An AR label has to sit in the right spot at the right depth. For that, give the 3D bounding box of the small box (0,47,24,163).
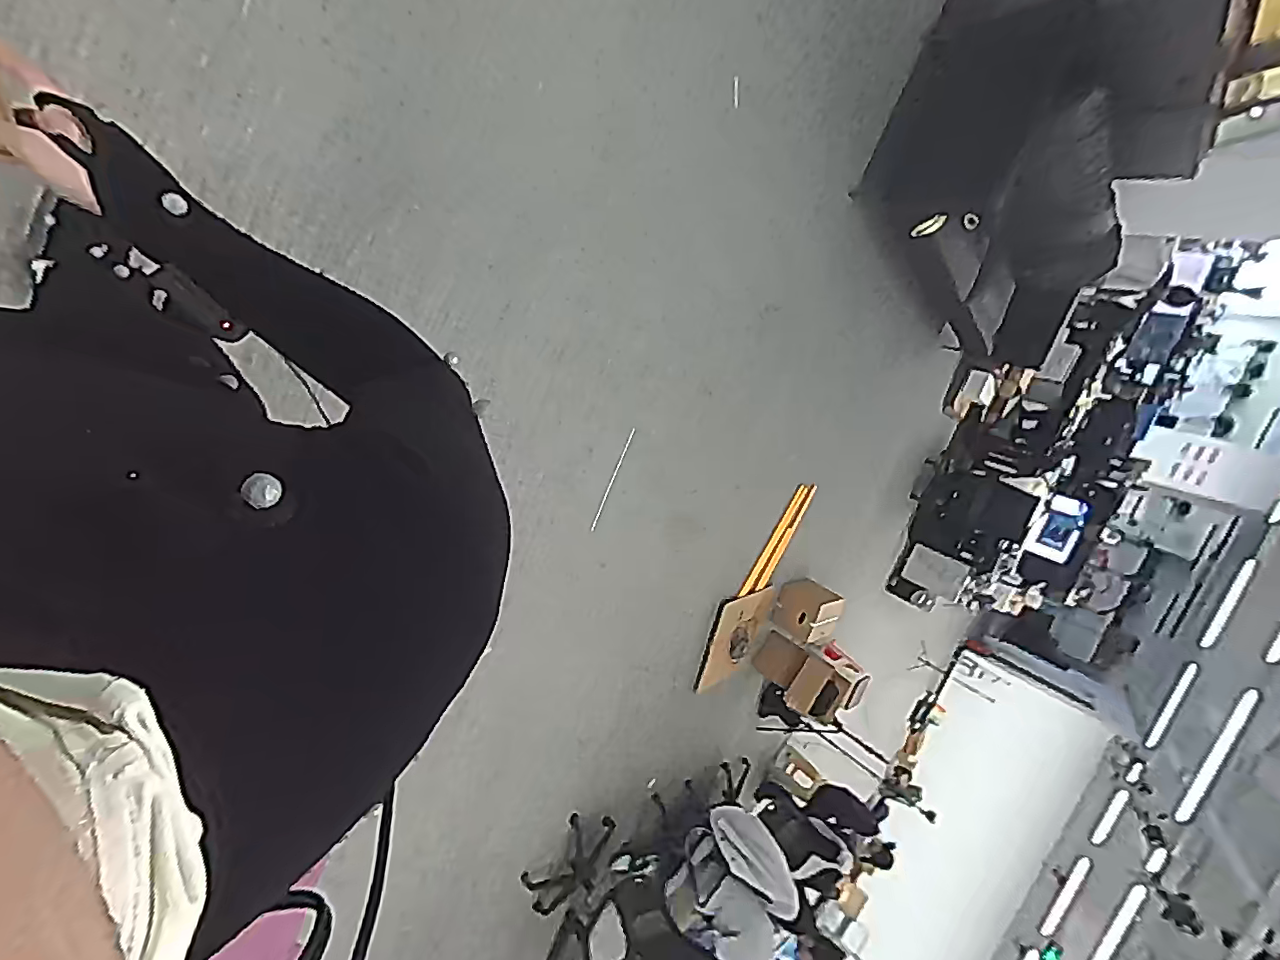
[{"bbox_3d":[-0.603,-0.355,0.401,0.168,0.176,0.179,-17,128,-41],"label":"small box"}]
